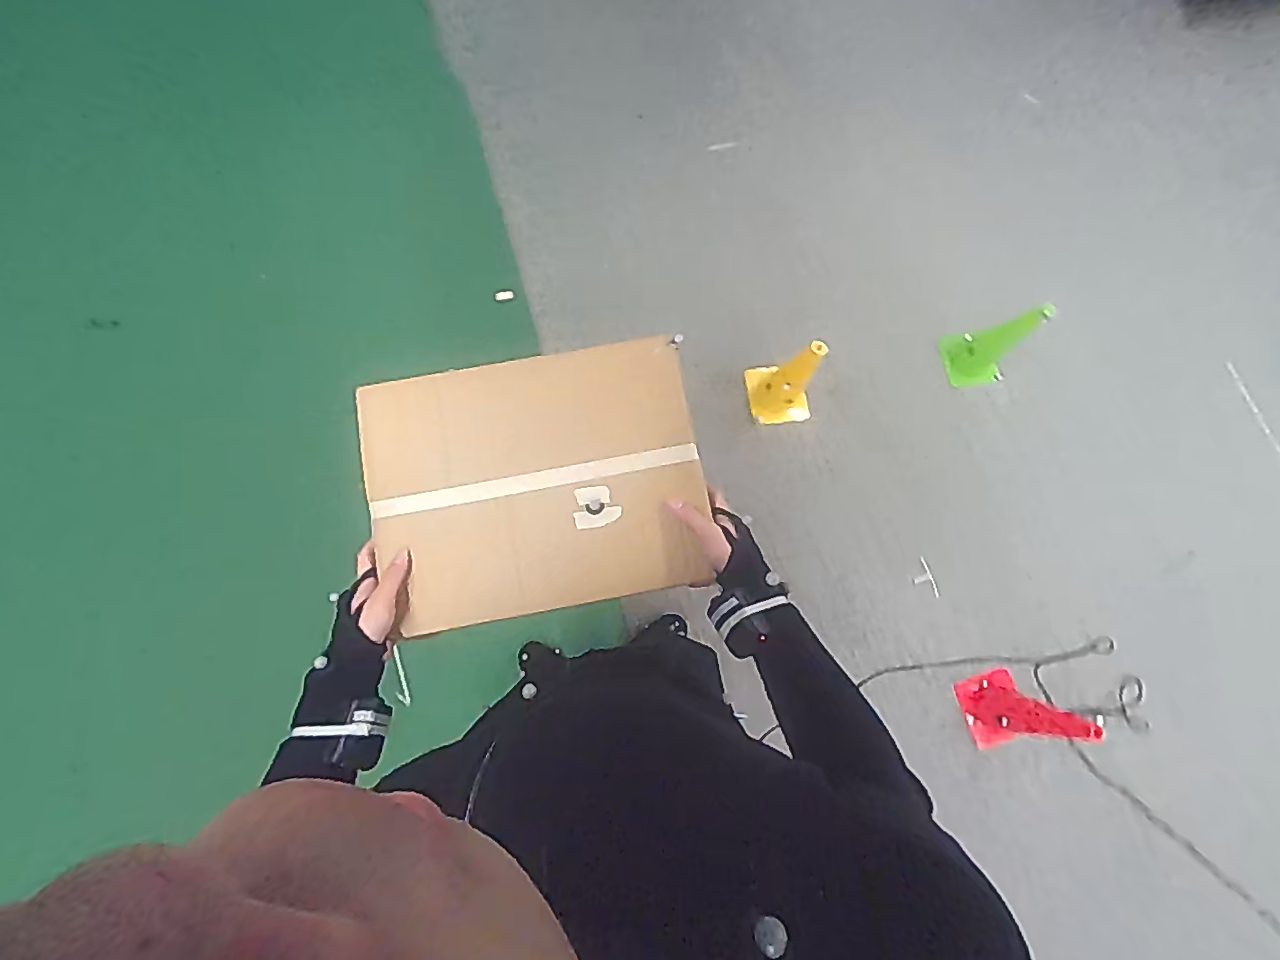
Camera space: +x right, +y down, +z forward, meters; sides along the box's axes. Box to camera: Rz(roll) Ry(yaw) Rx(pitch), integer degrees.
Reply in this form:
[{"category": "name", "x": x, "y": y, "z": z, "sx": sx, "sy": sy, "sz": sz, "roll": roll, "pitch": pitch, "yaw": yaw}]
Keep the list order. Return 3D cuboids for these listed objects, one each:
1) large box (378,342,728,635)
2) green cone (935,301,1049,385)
[{"category": "large box", "x": -0.117, "y": 0.024, "z": 0.820, "sx": 0.408, "sy": 0.320, "sz": 0.320, "roll": -10, "pitch": 83, "yaw": -3}, {"category": "green cone", "x": 1.203, "y": -0.489, "z": 1.802, "sx": 0.202, "sy": 0.368, "sz": 0.200, "roll": -11, "pitch": 78, "yaw": -7}]
